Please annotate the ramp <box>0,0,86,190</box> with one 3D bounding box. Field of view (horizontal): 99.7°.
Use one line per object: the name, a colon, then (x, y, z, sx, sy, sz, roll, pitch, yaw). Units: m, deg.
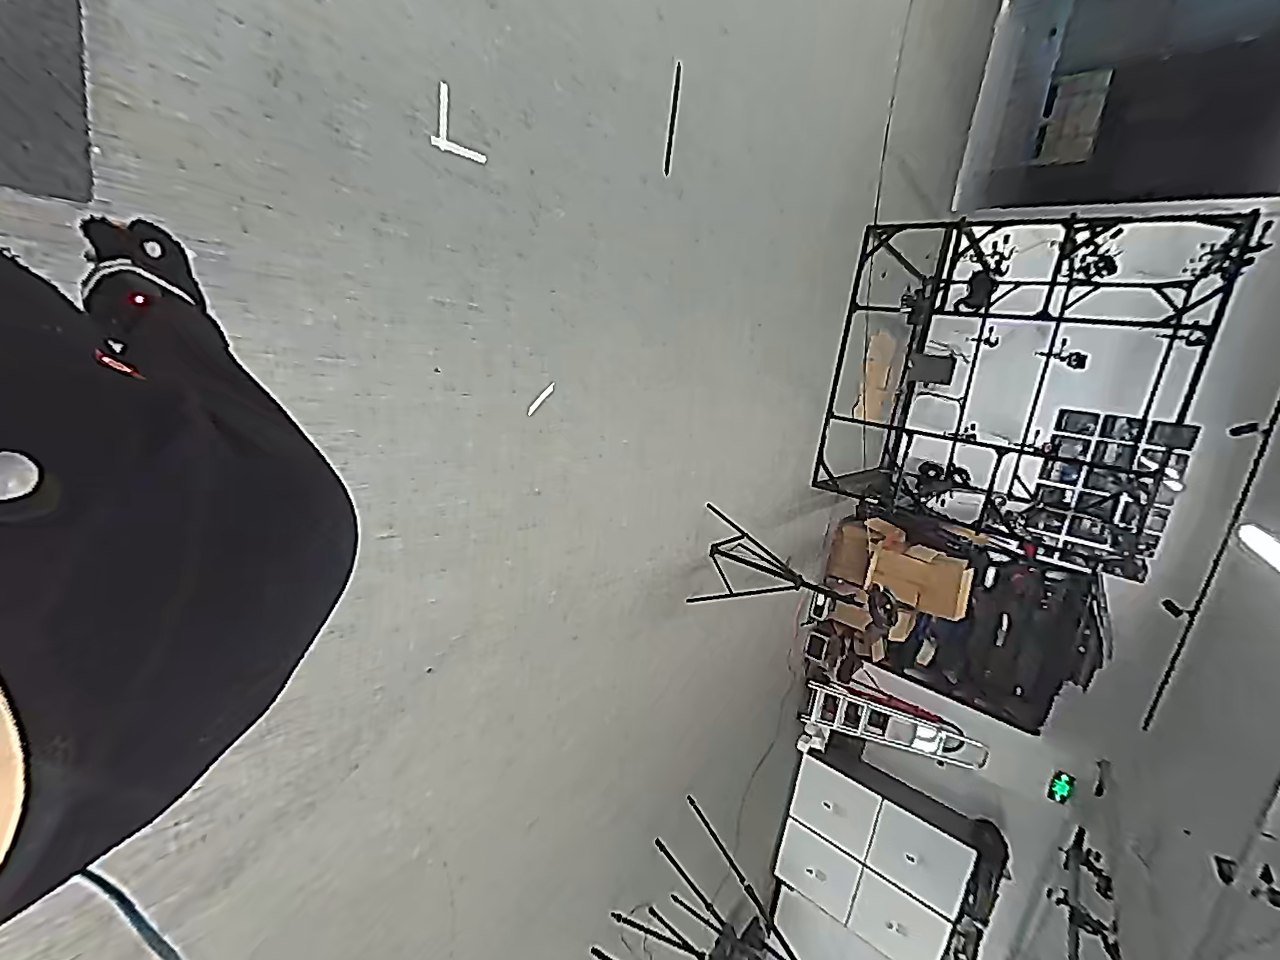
ramp: (-1.034, -0.951, 0.642, 0.509, 0.206, 0.991, -13, 115, -52)
